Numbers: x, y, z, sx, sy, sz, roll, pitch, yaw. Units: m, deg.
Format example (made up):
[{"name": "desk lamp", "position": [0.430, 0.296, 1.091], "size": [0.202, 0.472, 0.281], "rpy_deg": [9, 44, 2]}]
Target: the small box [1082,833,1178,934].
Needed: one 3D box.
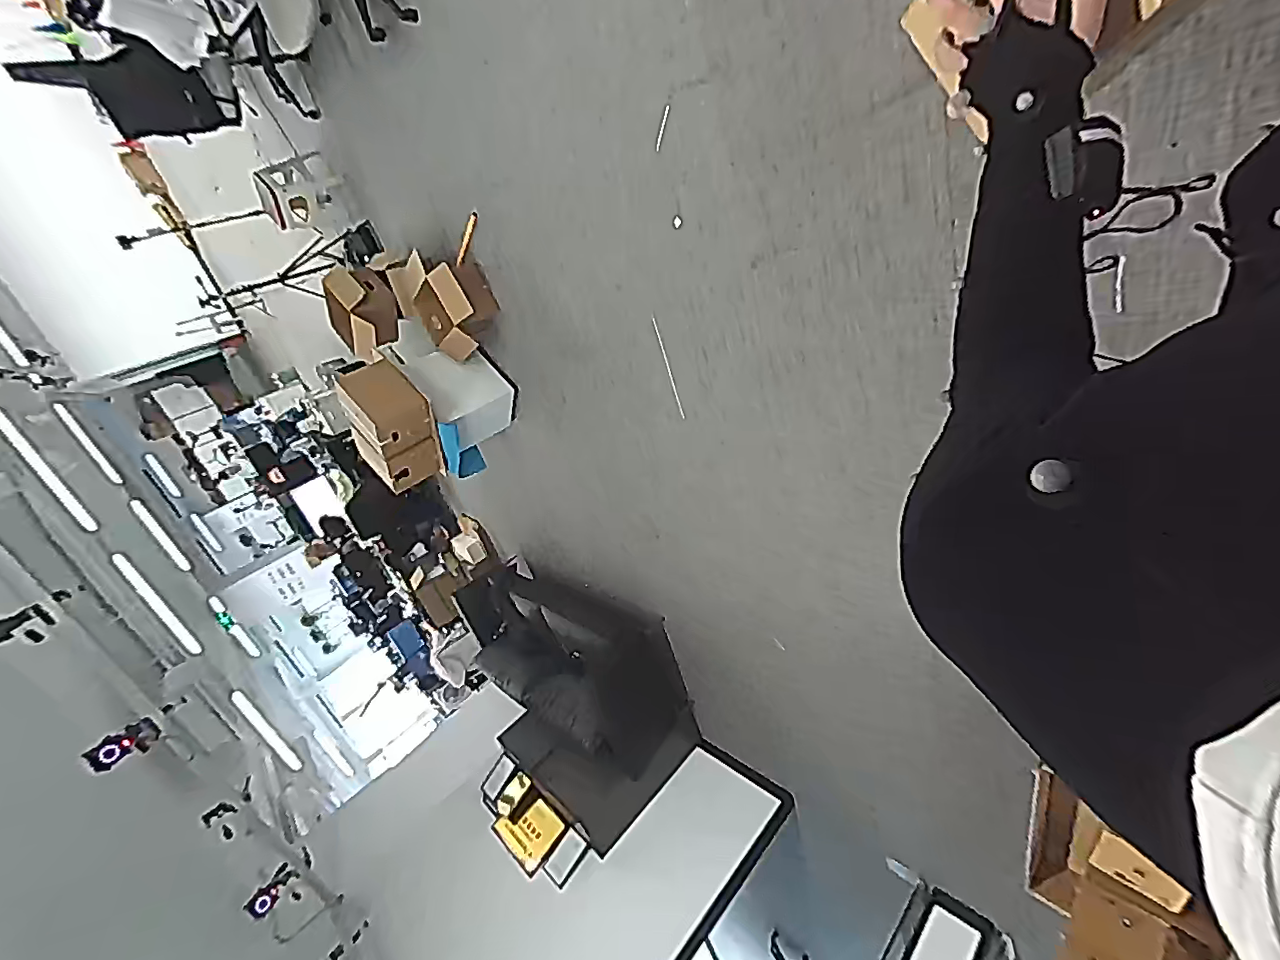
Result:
[{"name": "small box", "position": [1.277, 1.085, 1.417], "size": [0.168, 0.176, 0.179], "rpy_deg": [12, 127, 46]}]

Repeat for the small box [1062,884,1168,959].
[{"name": "small box", "position": [1.164, 1.158, 1.326], "size": [0.168, 0.176, 0.179], "rpy_deg": [12, 126, 47]}]

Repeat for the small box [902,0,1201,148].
[{"name": "small box", "position": [0.404, -0.474, 0.515], "size": [0.179, 0.176, 0.168], "rpy_deg": [56, 166, 0]}]
